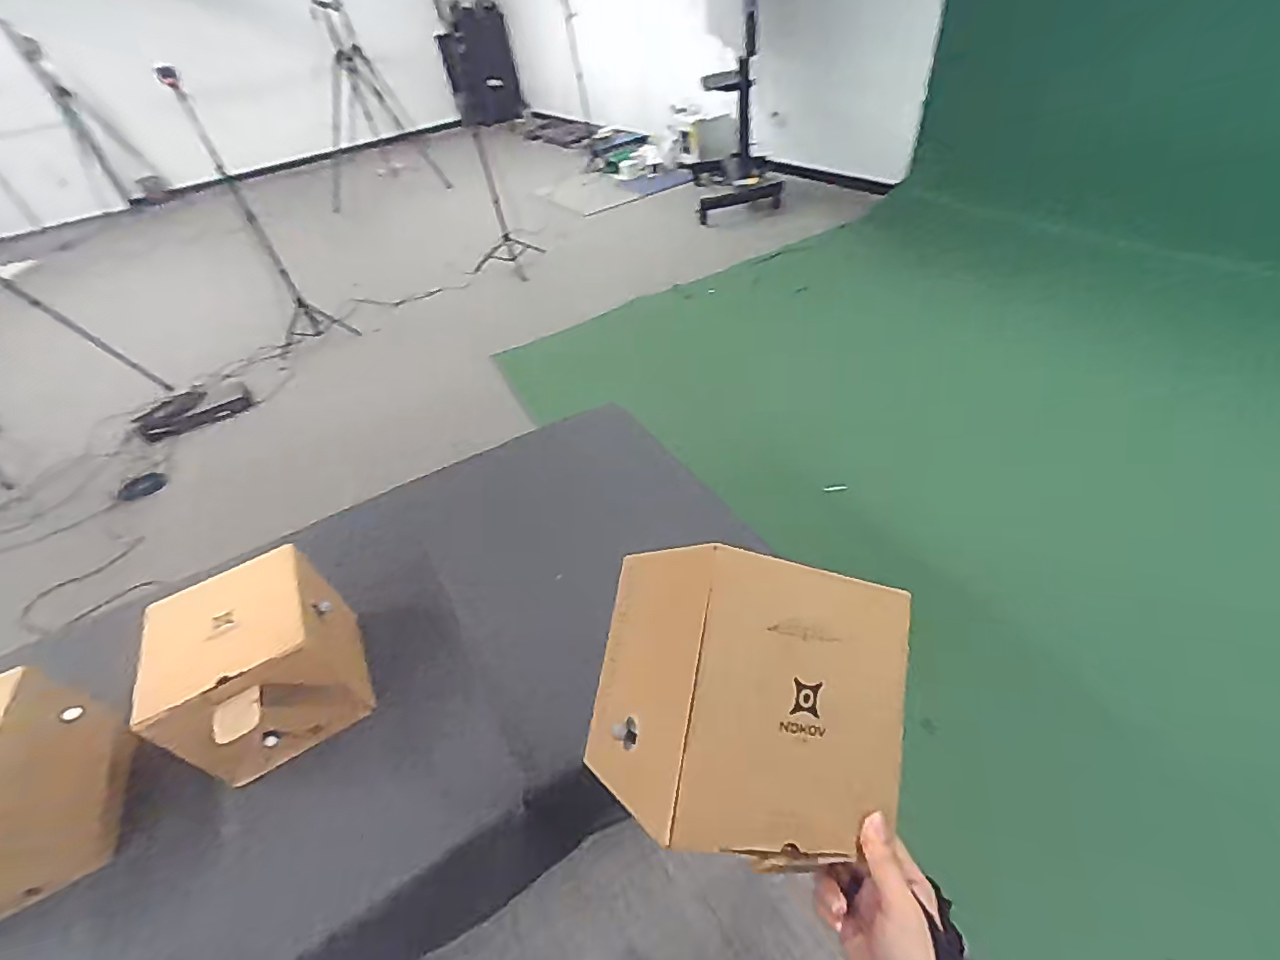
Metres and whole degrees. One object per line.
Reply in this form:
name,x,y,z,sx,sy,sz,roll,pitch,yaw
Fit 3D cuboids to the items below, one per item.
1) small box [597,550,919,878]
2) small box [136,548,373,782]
small box,0.077,0.161,0.410,0.168,0.176,0.179,17,73,-19
small box,-0.455,0.224,0.662,0.168,0.176,0.179,-27,45,-18
